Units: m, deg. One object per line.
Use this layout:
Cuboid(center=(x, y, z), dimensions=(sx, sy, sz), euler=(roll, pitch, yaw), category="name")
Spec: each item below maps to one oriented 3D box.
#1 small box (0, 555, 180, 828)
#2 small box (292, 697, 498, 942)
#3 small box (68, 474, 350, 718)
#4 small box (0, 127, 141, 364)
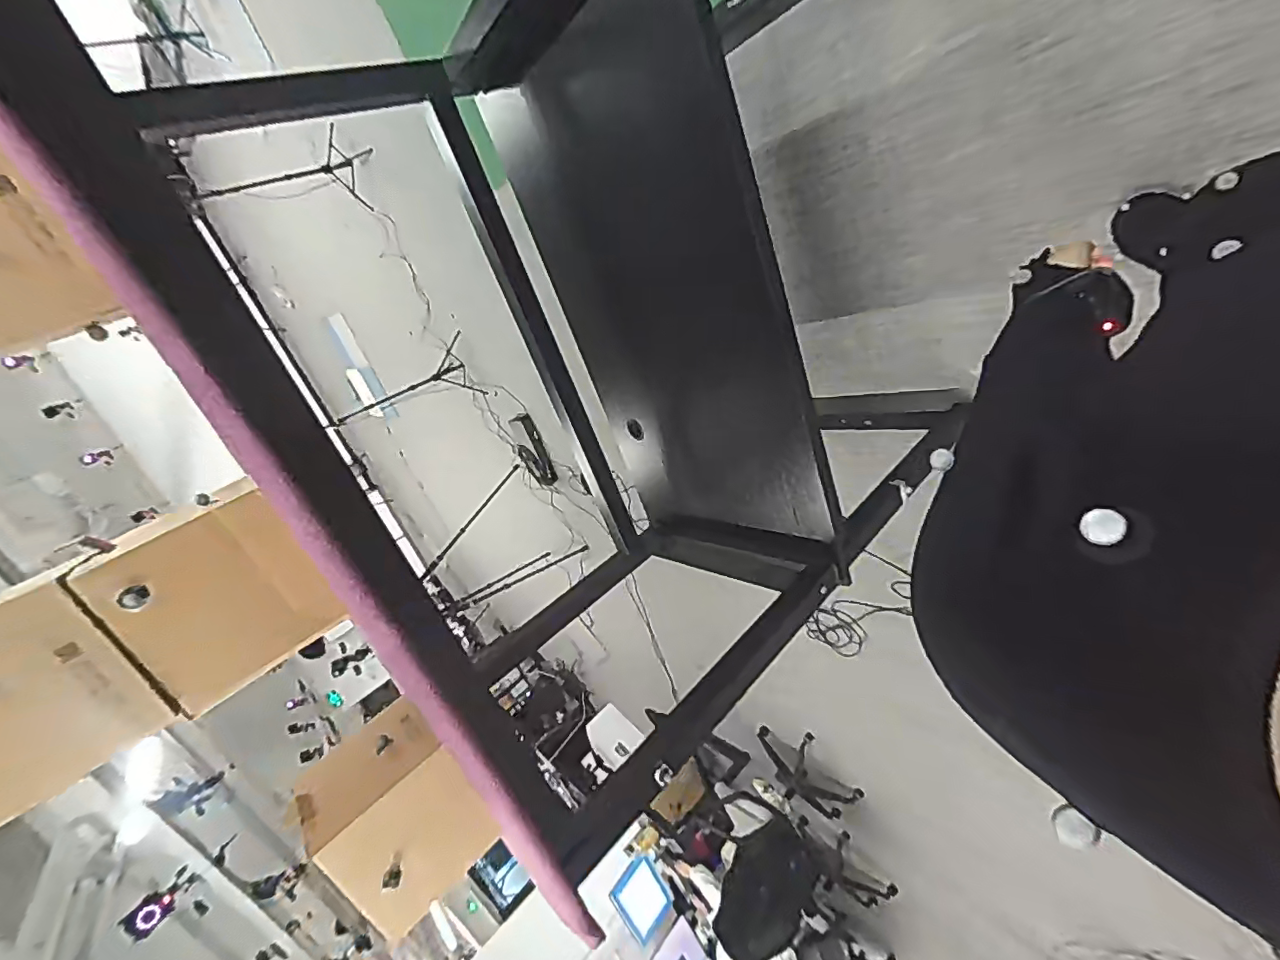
Cuboid(center=(-0.574, 0.189, 0.520), dimensions=(0.179, 0.176, 0.168), euler=(6, 123, 55), category="small box")
Cuboid(center=(-0.317, 0.431, 0.714), dimensions=(0.168, 0.176, 0.179), euler=(5, 124, 51), category="small box")
Cuboid(center=(-0.455, 0.114, 0.602), dimensions=(0.168, 0.176, 0.179), euler=(8, 126, 53), category="small box")
Cuboid(center=(-0.589, -0.196, 0.473), dimensions=(0.179, 0.176, 0.168), euler=(17, 135, 49), category="small box")
